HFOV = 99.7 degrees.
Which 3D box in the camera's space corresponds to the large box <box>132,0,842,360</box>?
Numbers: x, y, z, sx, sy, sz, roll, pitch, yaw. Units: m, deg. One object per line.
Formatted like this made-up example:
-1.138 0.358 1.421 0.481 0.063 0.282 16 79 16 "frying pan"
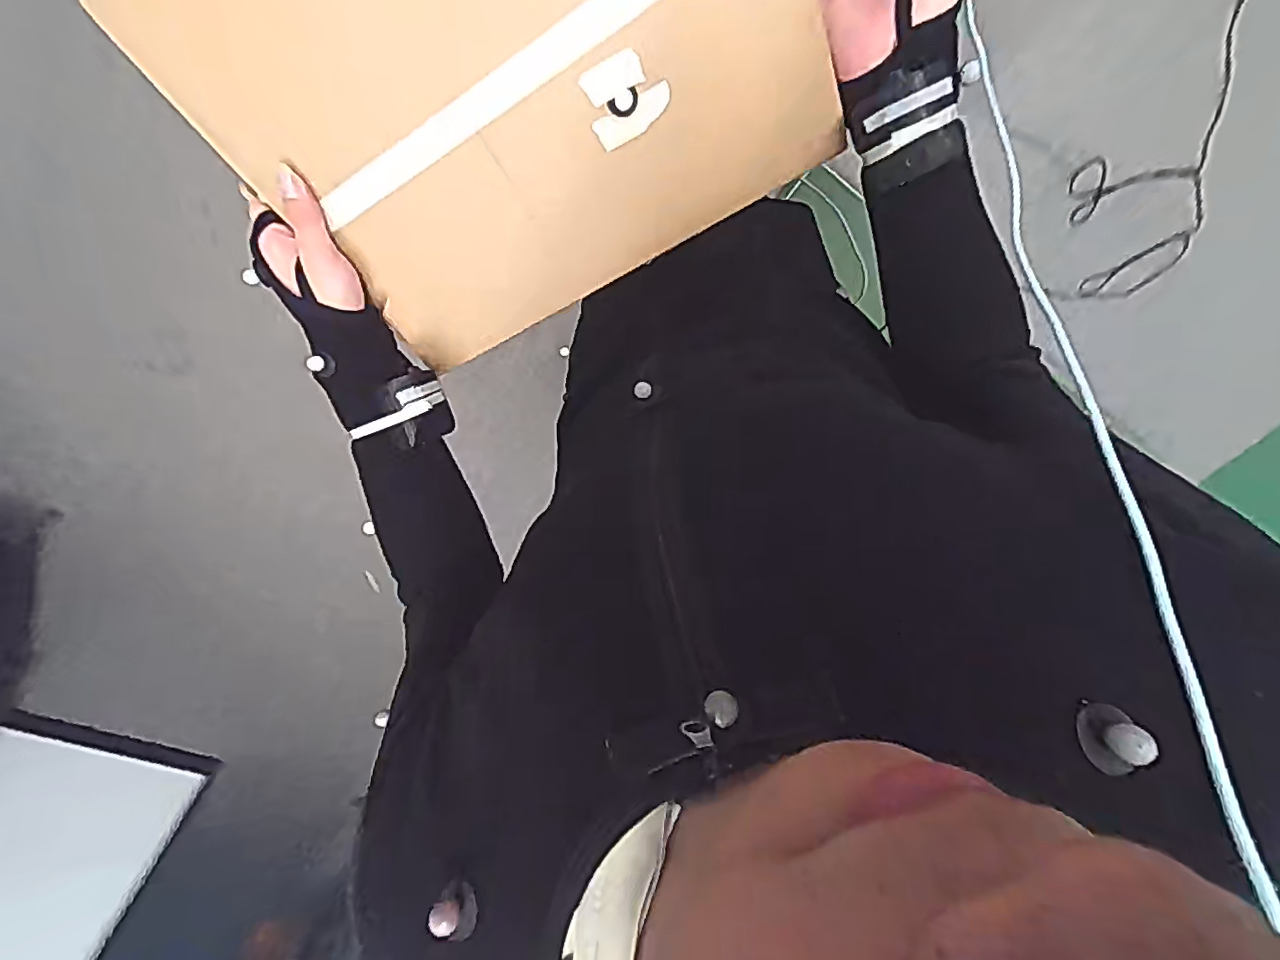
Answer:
-0.096 -0.386 0.492 0.408 0.320 0.320 -24 131 15 "large box"
